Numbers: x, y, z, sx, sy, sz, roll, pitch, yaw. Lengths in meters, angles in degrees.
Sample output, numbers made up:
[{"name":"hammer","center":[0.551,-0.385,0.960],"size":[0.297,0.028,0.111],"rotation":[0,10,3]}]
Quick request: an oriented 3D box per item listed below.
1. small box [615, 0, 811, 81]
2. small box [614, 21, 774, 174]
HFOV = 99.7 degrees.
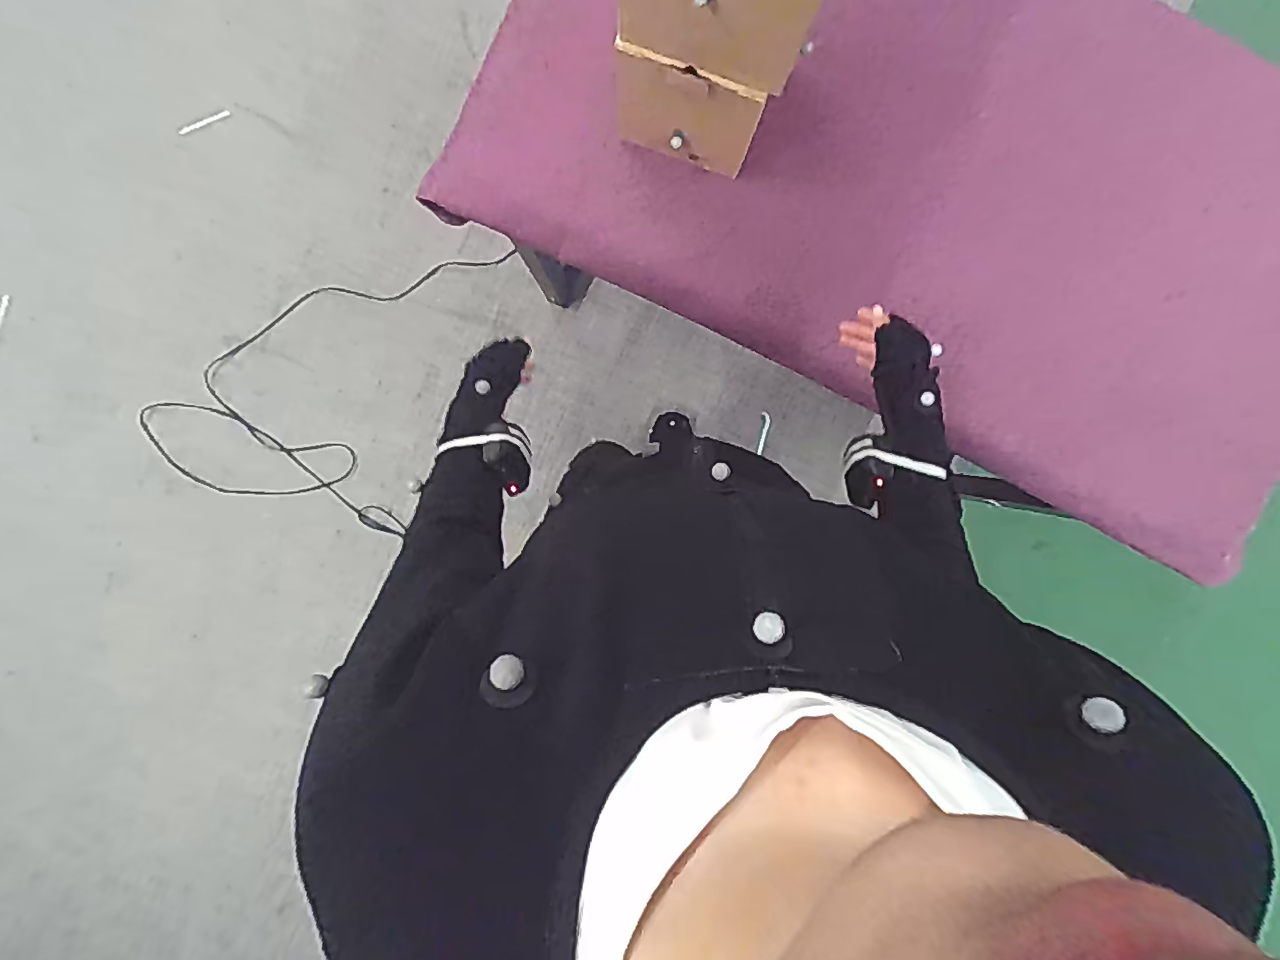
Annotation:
[{"name":"small box","center":[0.085,-0.489,0.455],"size":[0.179,0.176,0.168],"rotation":[21,92,-2]},{"name":"small box","center":[0.075,-0.500,0.621],"size":[0.168,0.176,0.179],"rotation":[19,94,-1]}]
